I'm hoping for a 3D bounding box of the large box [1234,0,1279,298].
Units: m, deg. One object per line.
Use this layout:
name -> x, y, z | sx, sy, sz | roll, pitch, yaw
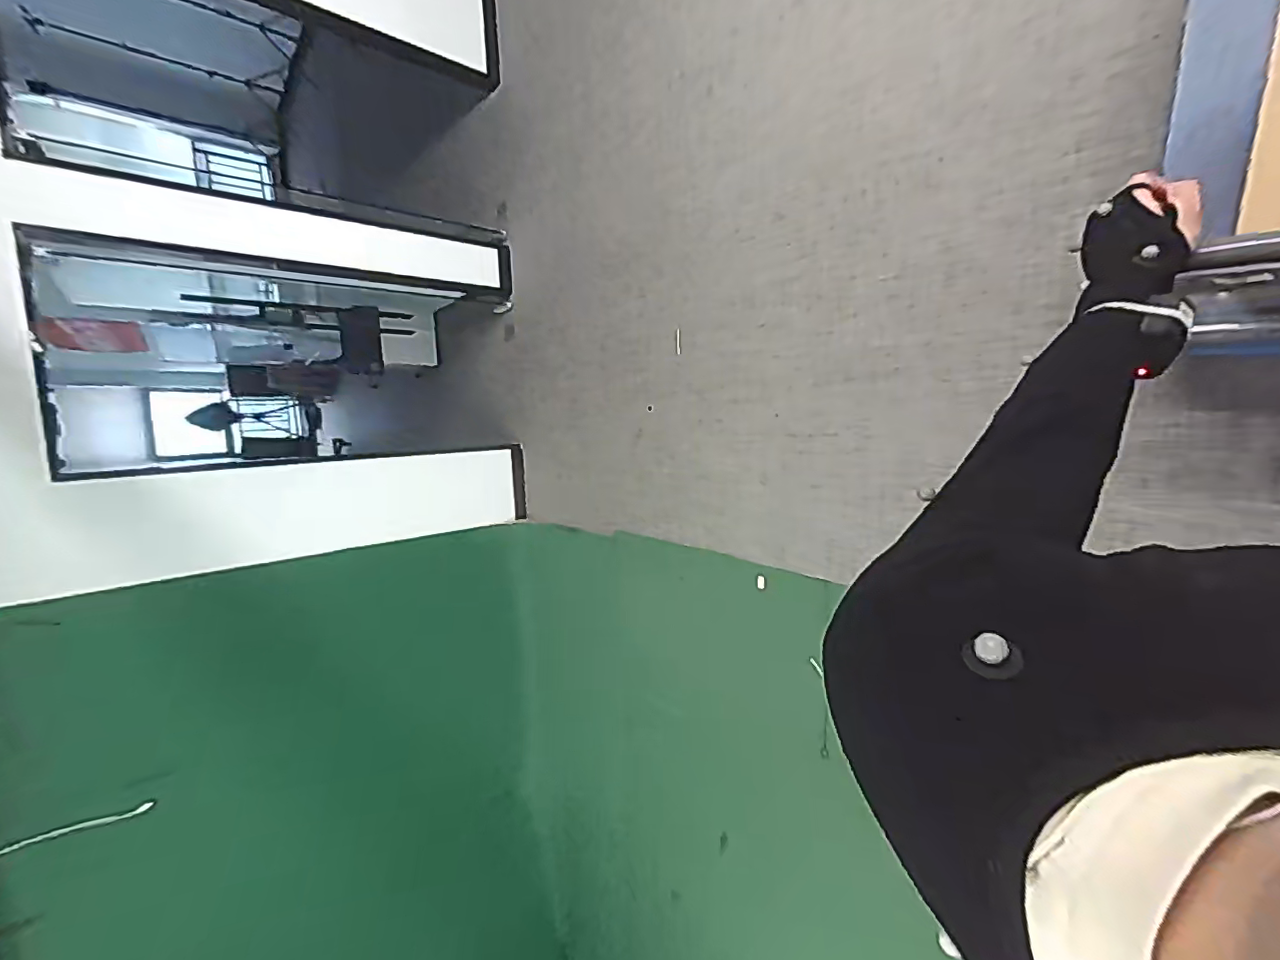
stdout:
large box -> 1.057, -0.486, 0.714 | 0.320, 0.320, 0.408 | 12, 103, 49
